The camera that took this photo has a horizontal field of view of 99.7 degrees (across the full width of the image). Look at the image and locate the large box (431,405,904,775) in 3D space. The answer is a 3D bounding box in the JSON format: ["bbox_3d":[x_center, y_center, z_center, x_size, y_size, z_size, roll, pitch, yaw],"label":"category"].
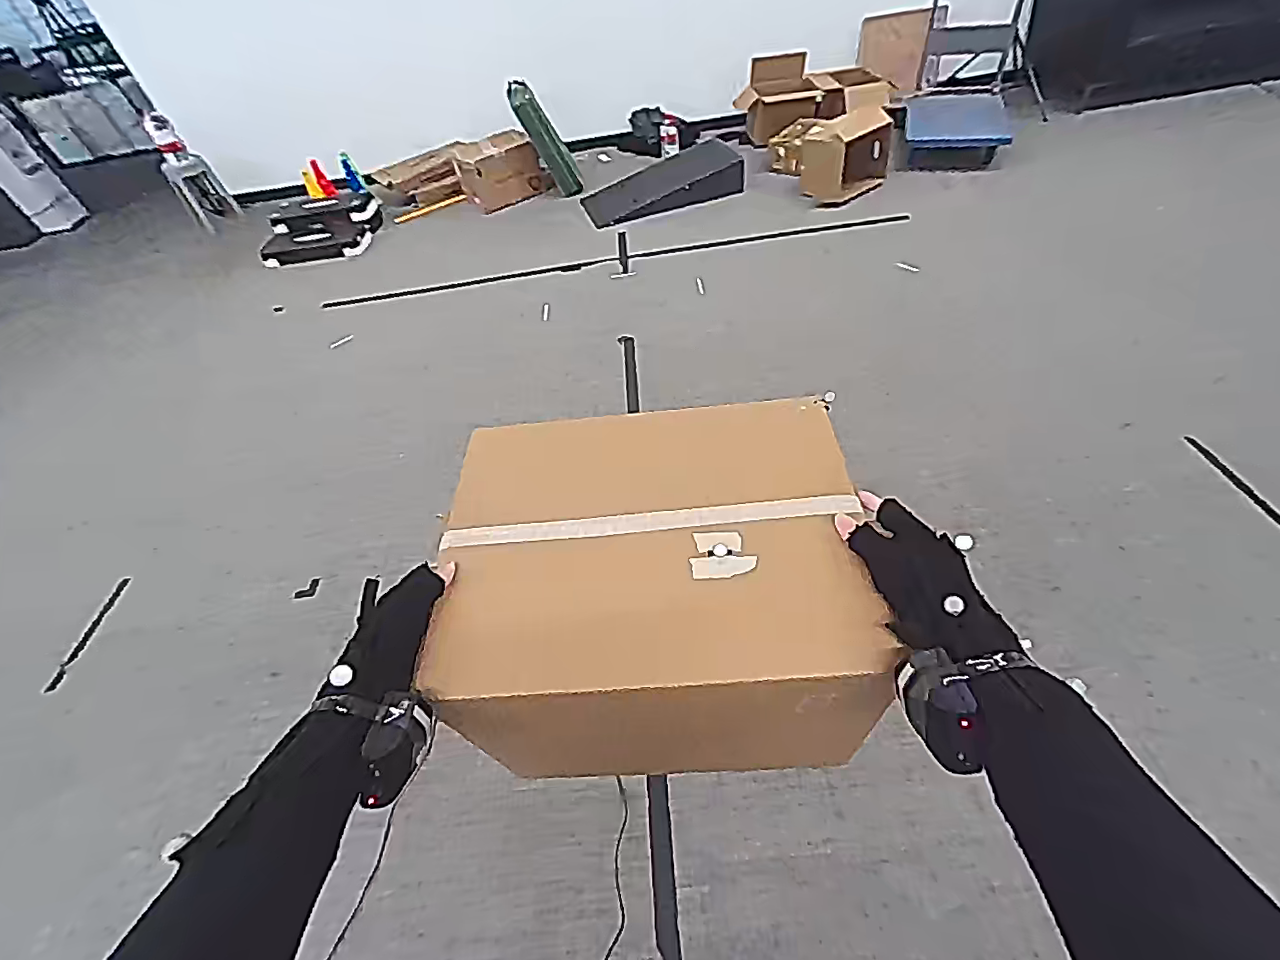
[{"bbox_3d":[0.027,0.142,0.653,0.408,0.320,0.320,-5,51,4],"label":"large box"}]
